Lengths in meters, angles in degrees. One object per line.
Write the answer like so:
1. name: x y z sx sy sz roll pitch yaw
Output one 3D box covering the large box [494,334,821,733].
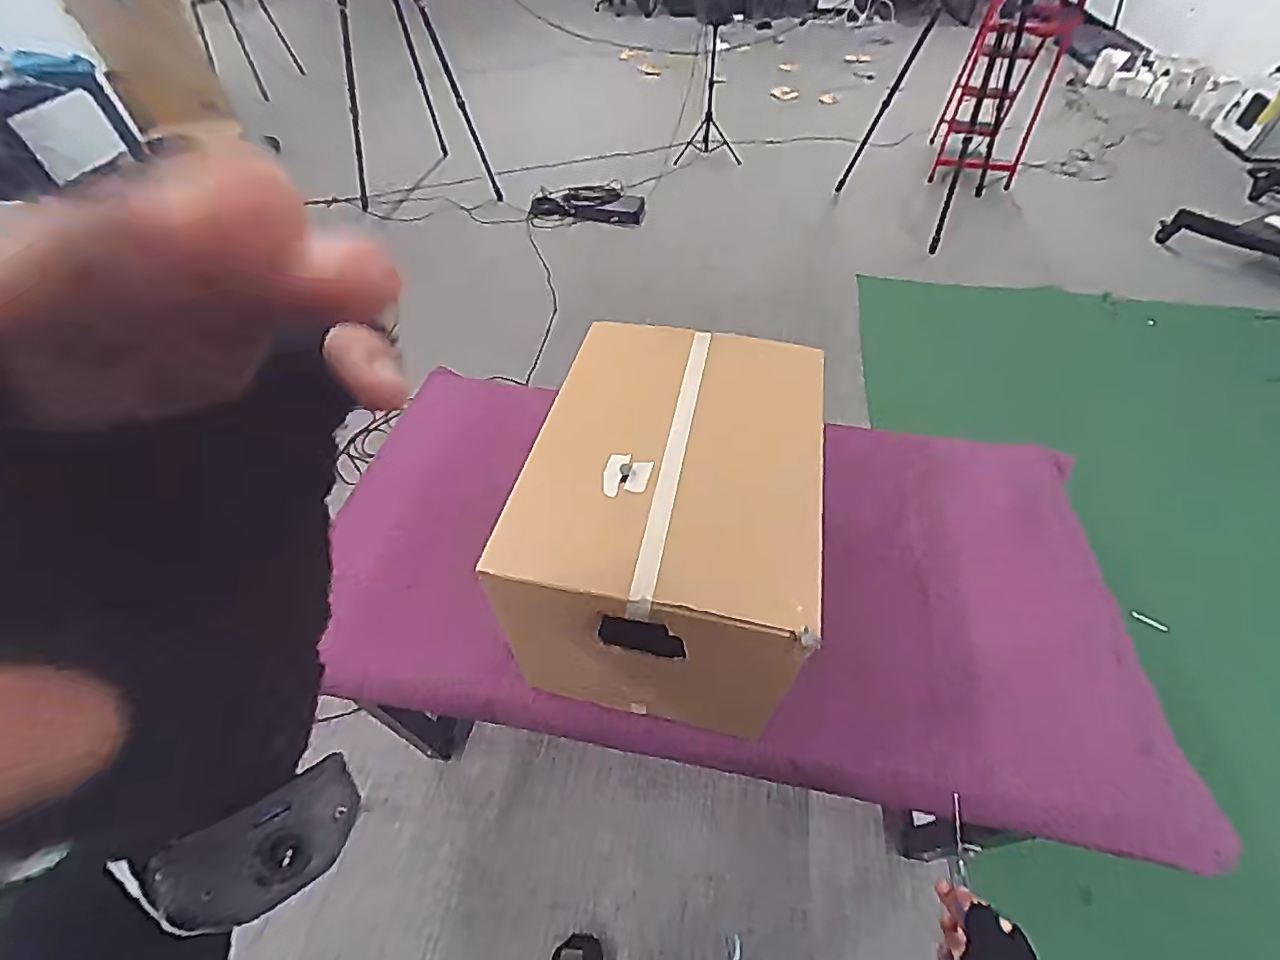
1. large box: 0.046 0.064 0.732 0.320 0.320 0.408 10 52 8
